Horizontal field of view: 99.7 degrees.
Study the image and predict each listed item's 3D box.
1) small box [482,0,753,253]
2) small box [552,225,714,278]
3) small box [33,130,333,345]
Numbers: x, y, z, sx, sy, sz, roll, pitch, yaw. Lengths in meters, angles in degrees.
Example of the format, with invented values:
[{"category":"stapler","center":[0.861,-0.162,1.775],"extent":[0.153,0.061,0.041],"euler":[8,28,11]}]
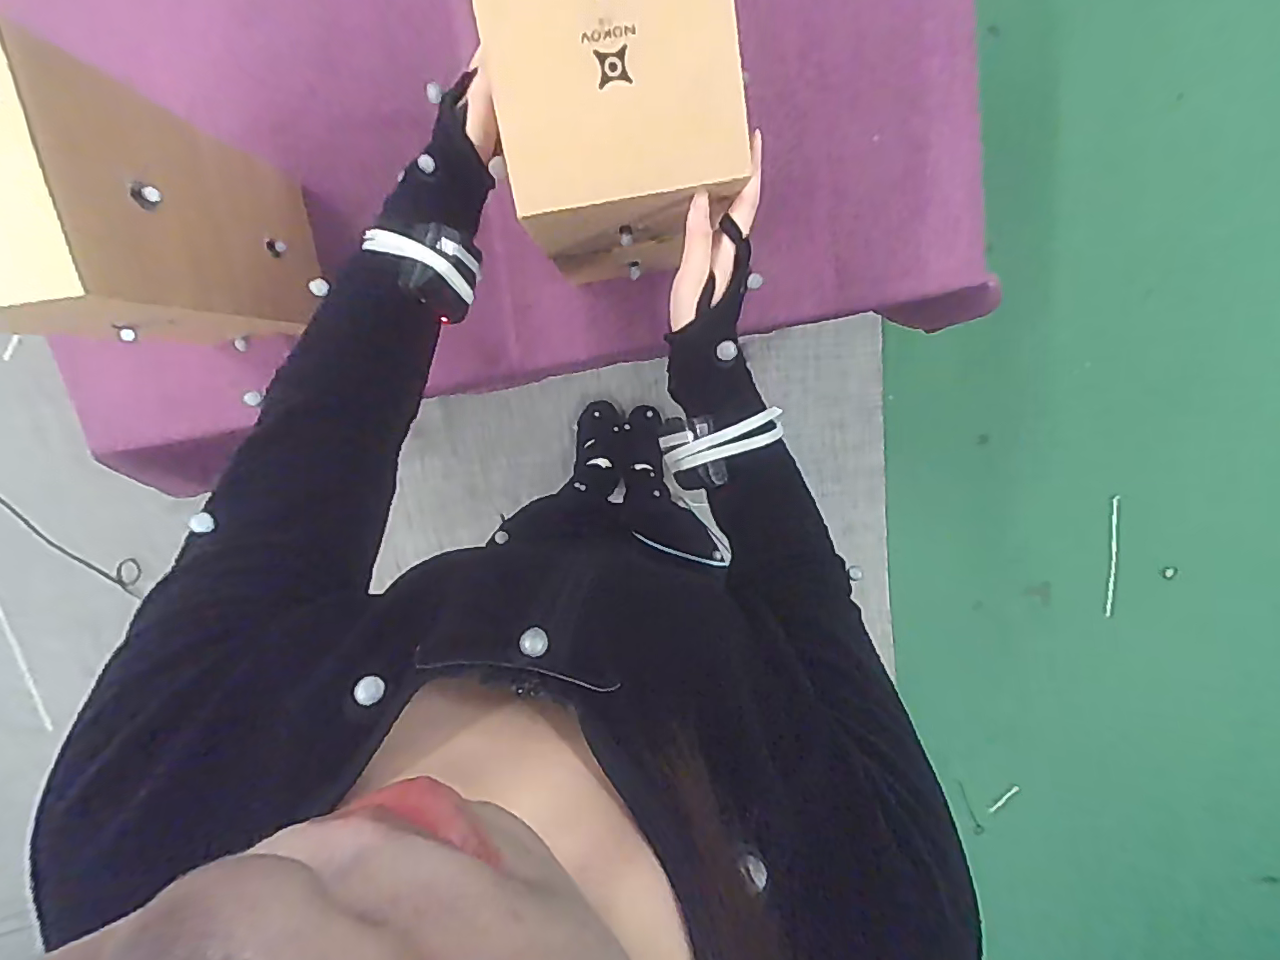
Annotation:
[{"category":"small box","center":[-0.016,-0.290,0.432],"extent":[0.168,0.176,0.179],"euler":[-10,103,-1]},{"category":"small box","center":[-0.019,-0.328,0.597],"extent":[0.168,0.176,0.179],"euler":[-9,103,0]},{"category":"small box","center":[-0.479,-0.251,0.601],"extent":[0.168,0.176,0.179],"euler":[-8,103,0]}]
